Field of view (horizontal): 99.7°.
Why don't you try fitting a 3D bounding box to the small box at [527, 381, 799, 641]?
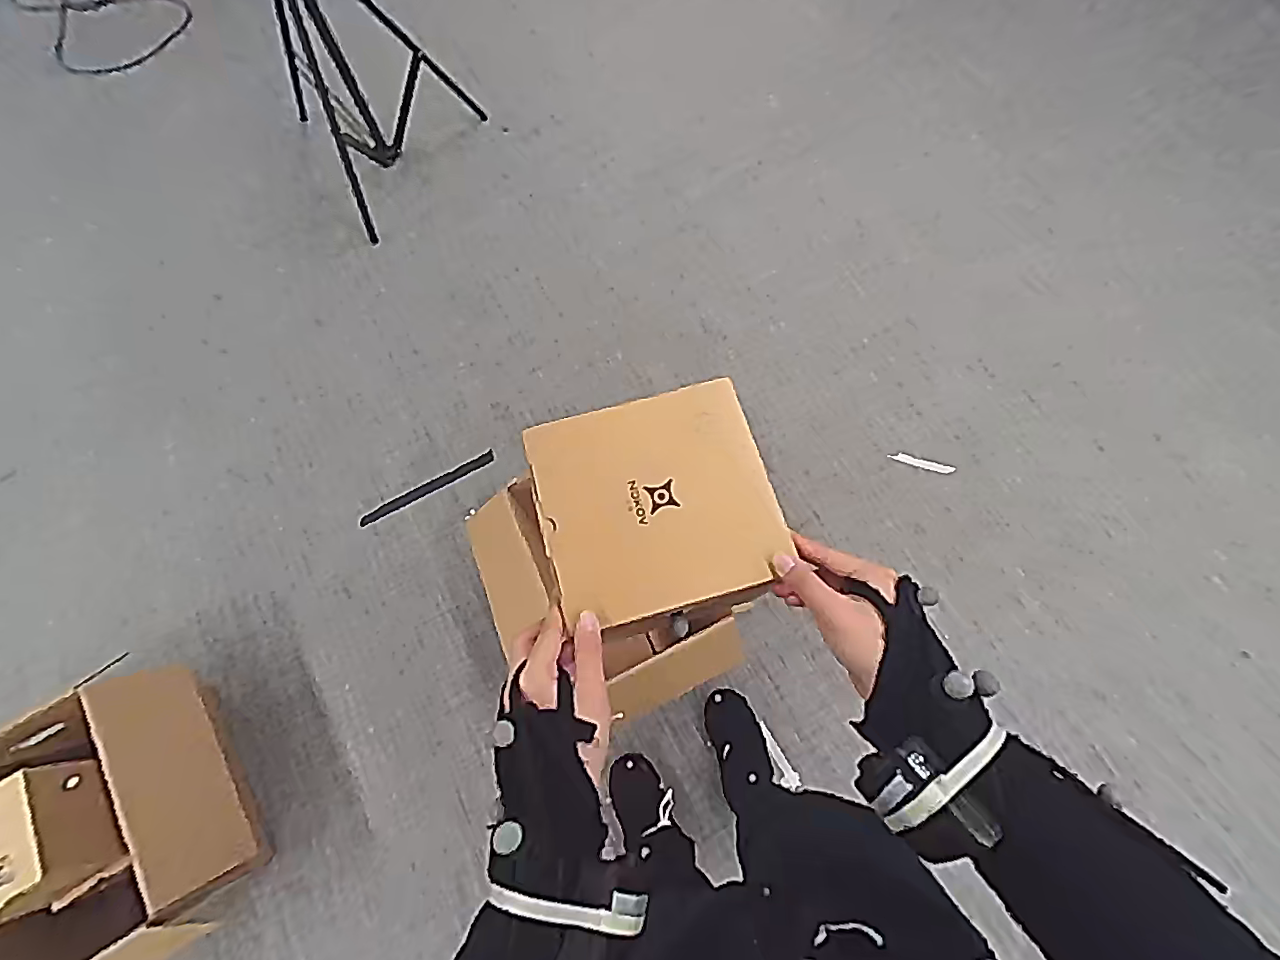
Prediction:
[{"bbox_3d":[0.013,0.039,0.487,0.179,0.176,0.168,-16,71,-4],"label":"small box"}]
